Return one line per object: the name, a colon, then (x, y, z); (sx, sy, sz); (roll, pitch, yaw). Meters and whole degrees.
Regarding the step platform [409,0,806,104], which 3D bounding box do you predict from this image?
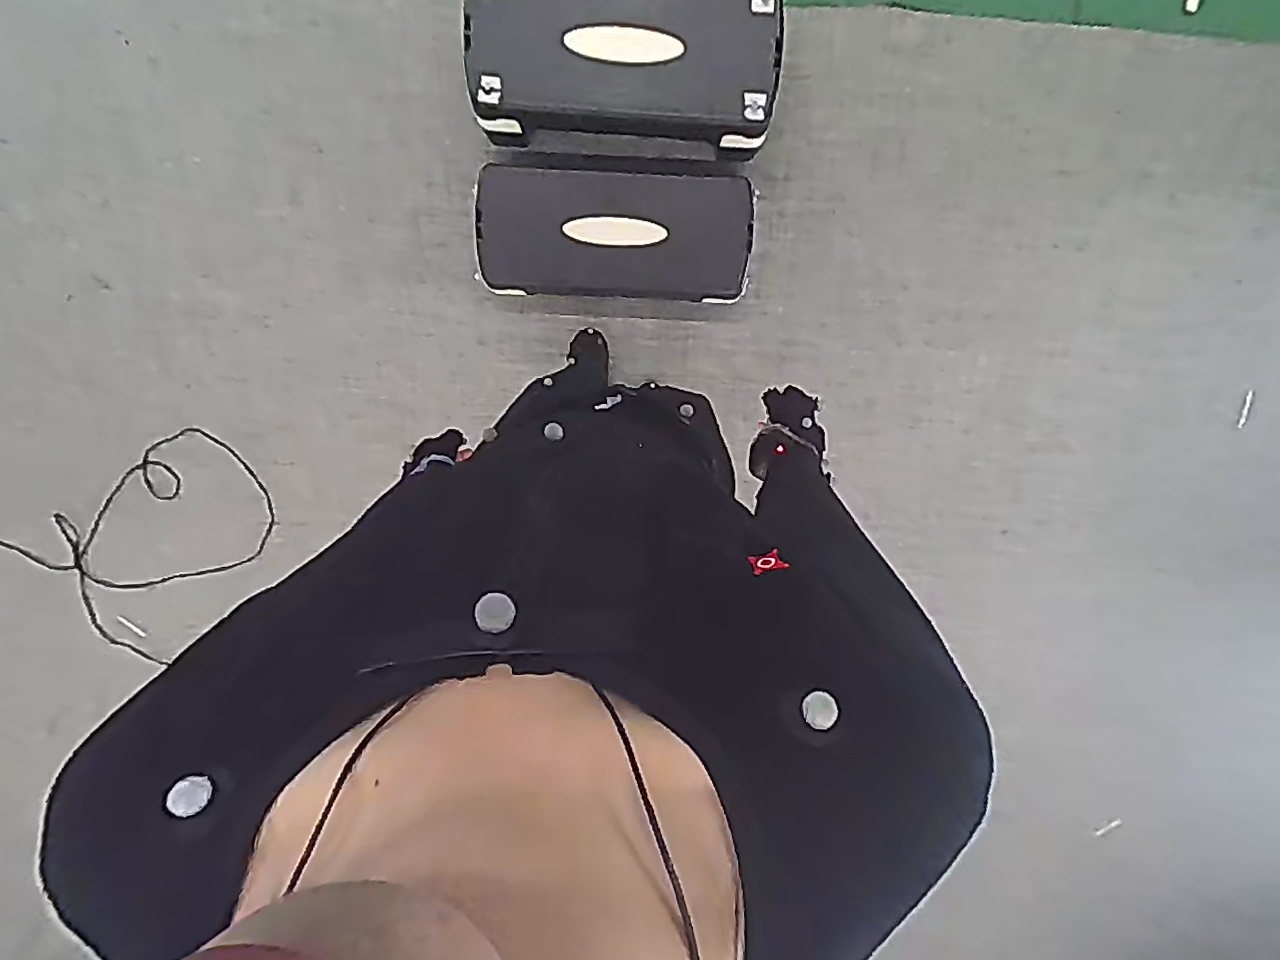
step platform: (-0.054, -0.895, 0.992); (0.684, 0.204, 0.286); (2, 103, -1)
